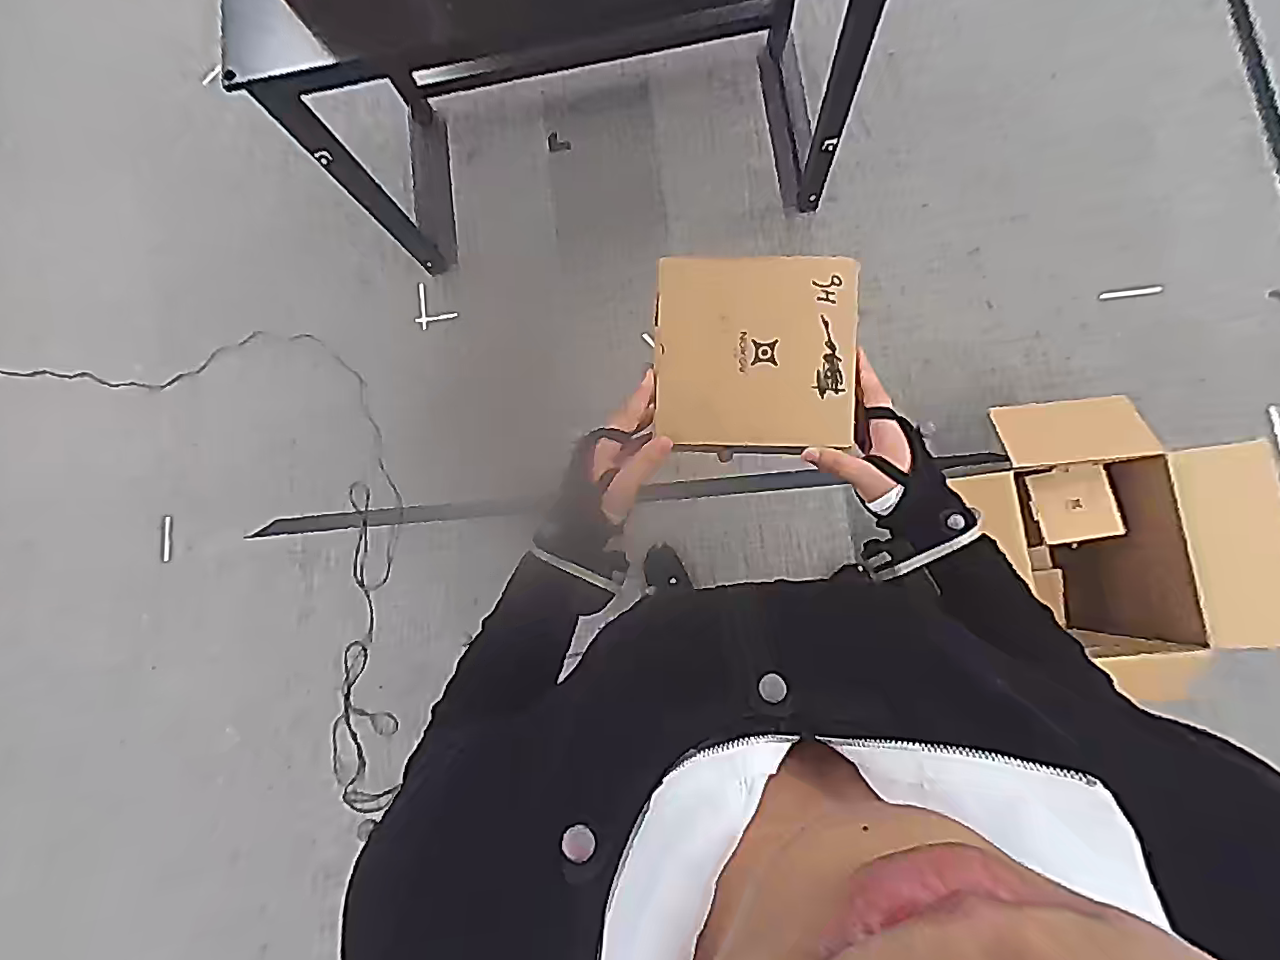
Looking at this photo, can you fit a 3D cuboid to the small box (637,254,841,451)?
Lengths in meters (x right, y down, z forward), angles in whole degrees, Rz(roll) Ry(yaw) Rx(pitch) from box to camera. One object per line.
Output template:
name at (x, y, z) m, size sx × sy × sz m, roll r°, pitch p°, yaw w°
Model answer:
small box at (0.092, -0.117, 0.557) m, size 0.179 × 0.176 × 0.168 m, roll 2°, pitch 90°, yaw 3°
